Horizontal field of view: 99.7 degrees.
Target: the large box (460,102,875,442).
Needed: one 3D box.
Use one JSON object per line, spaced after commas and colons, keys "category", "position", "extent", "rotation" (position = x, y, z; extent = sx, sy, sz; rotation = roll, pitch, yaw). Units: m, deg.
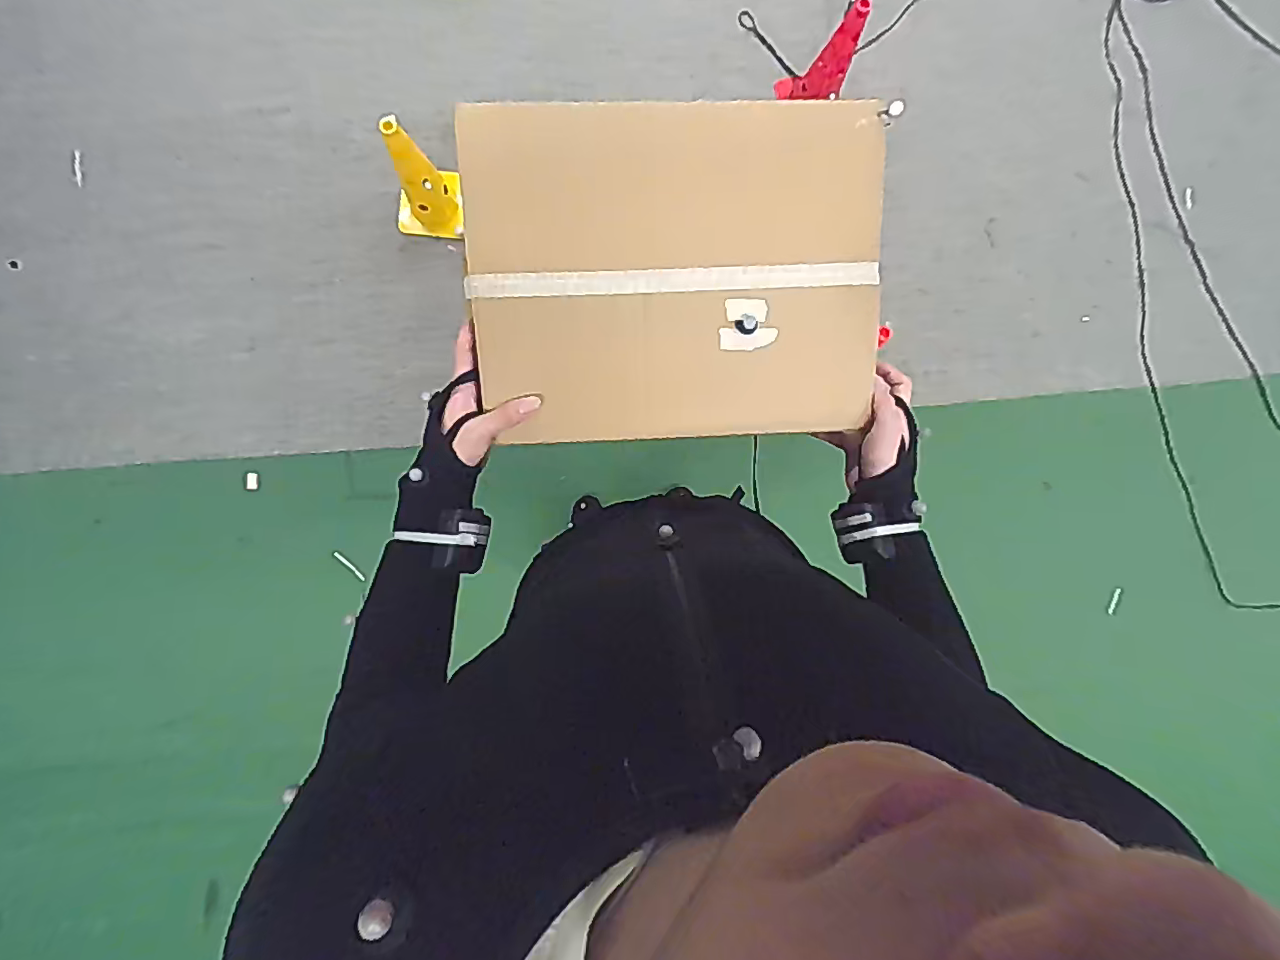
{"category": "large box", "position": [0.025, -0.231, 0.685], "extent": [0.408, 0.320, 0.320], "rotation": [-3, 103, -4]}
